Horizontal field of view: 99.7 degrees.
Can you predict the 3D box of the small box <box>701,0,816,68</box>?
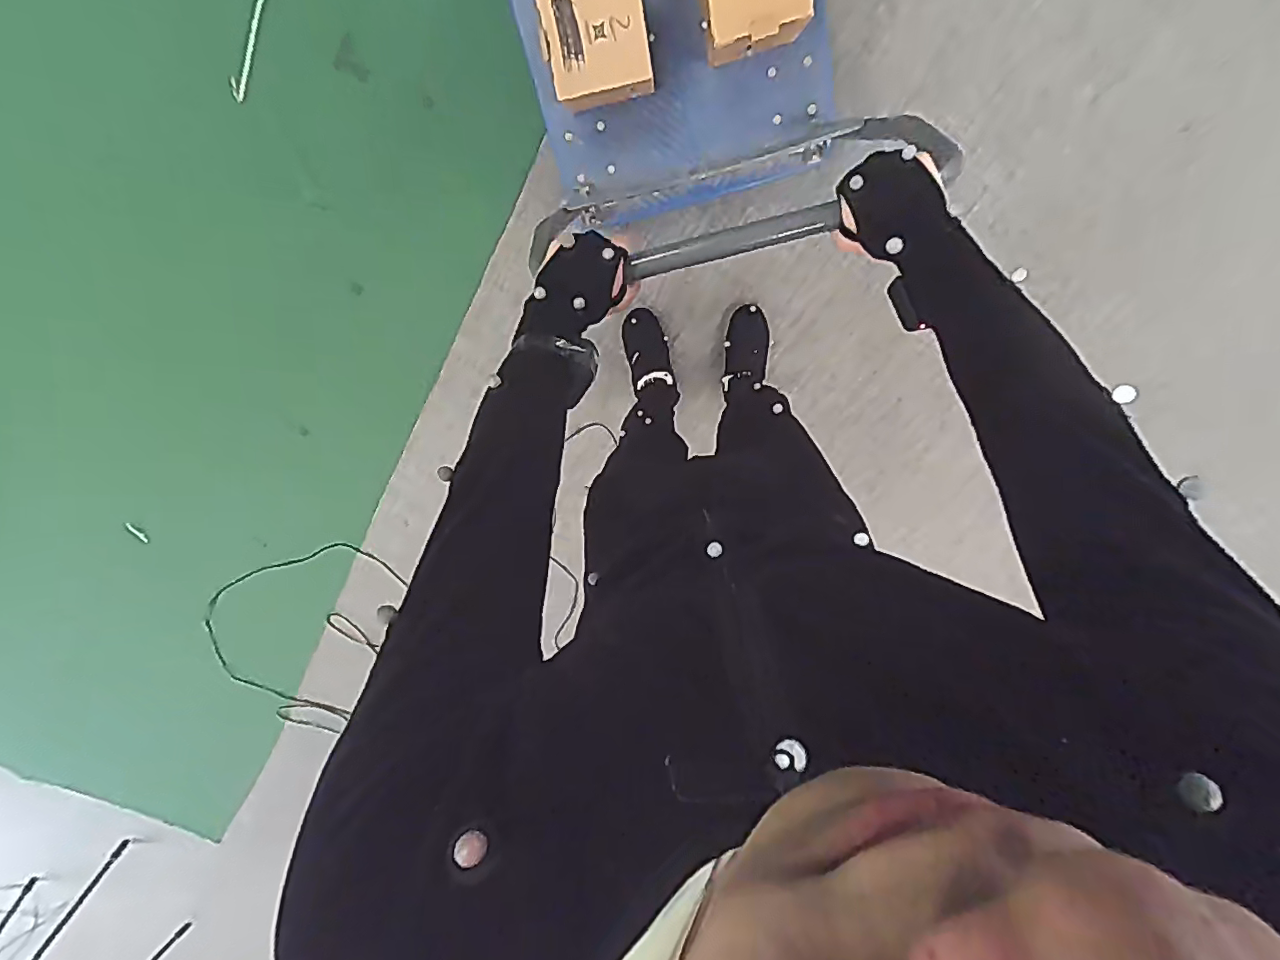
[{"bbox_3d":[0.194,-0.851,0.933,0.168,0.176,0.179,-11,118,9],"label":"small box"}]
